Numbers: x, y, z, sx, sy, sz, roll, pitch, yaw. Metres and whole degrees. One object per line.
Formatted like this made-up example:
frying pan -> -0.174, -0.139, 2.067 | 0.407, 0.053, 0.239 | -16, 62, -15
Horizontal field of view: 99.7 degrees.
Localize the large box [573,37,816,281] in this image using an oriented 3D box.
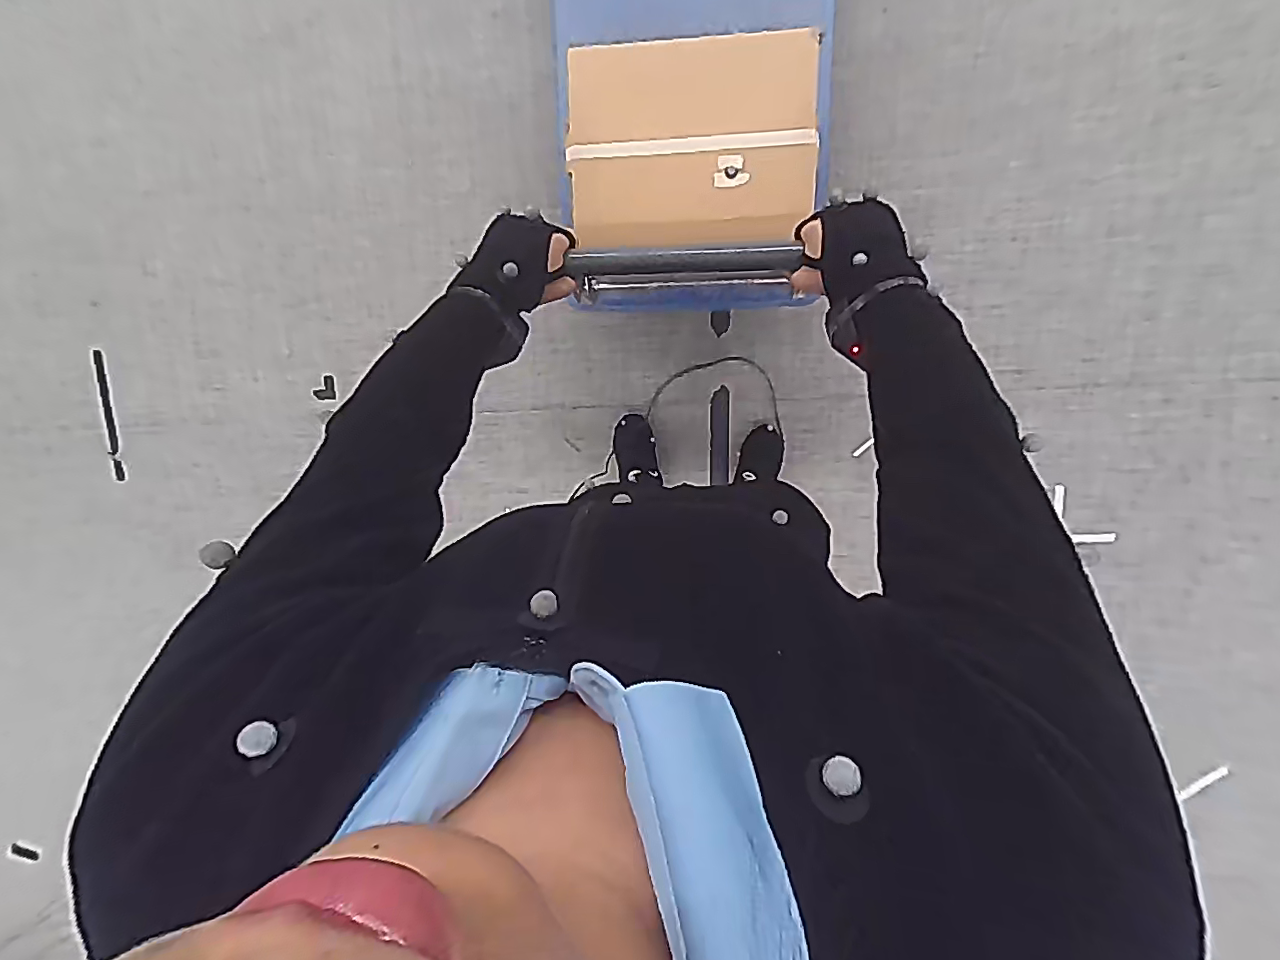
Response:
large box -> 0.101, -0.583, 1.054 | 0.408, 0.320, 0.320 | 0, 102, 5
